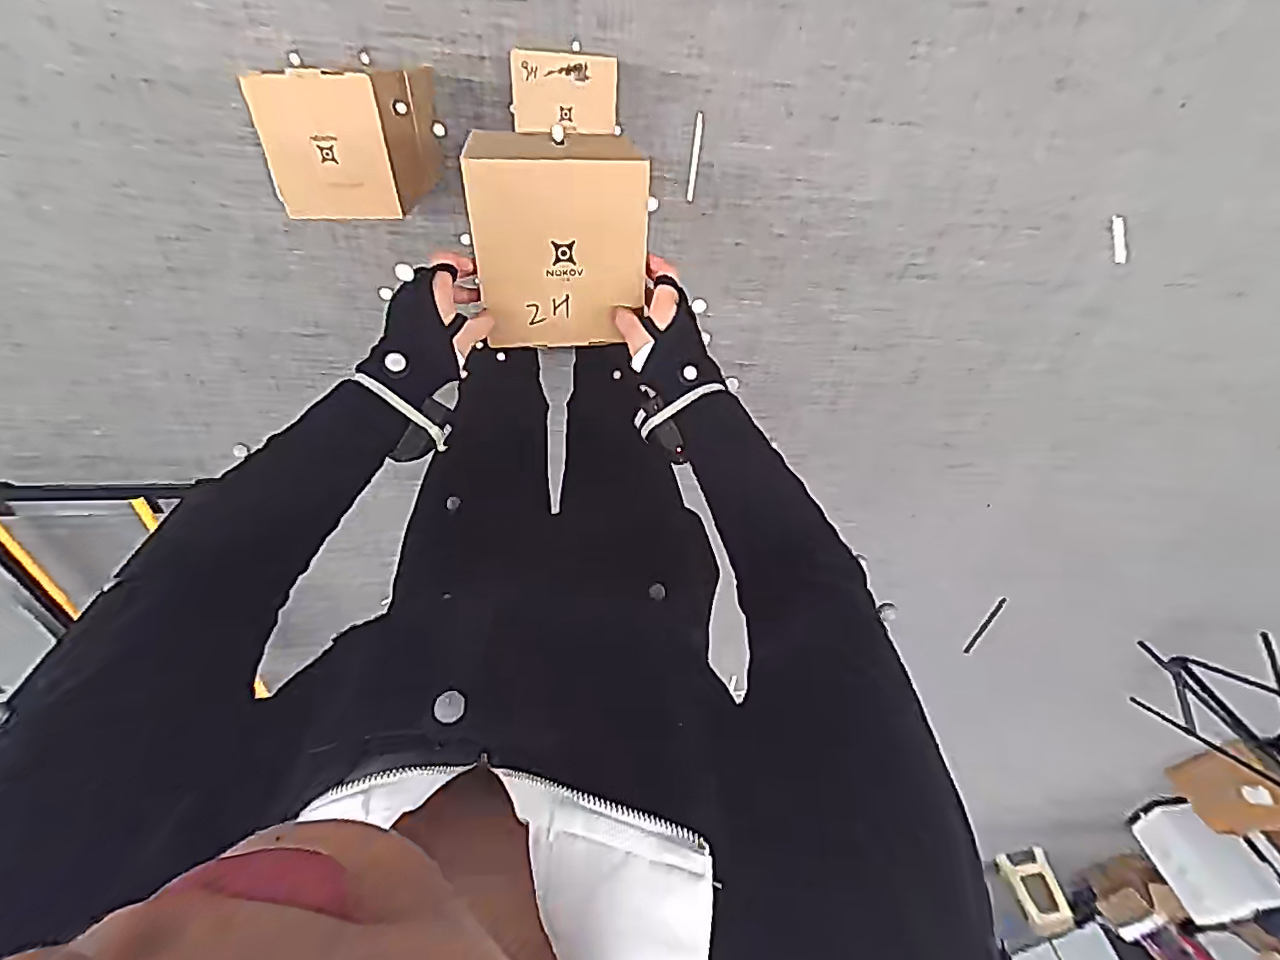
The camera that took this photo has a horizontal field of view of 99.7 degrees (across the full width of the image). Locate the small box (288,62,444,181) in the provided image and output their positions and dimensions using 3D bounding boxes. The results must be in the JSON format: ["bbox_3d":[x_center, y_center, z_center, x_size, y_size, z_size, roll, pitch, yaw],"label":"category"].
[{"bbox_3d":[-0.452,-0.605,0.923,0.179,0.176,0.168,-1,129,-6],"label":"small box"}]

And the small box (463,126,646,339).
[{"bbox_3d":[-0.093,-0.273,0.588,0.168,0.176,0.179,-4,131,-9],"label":"small box"}]

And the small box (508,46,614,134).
[{"bbox_3d":[-0.133,-0.633,0.939,0.168,0.176,0.179,0,129,-7],"label":"small box"}]

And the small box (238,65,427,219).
[{"bbox_3d":[-0.434,-0.501,0.800,0.168,0.176,0.179,-2,131,-3],"label":"small box"}]
